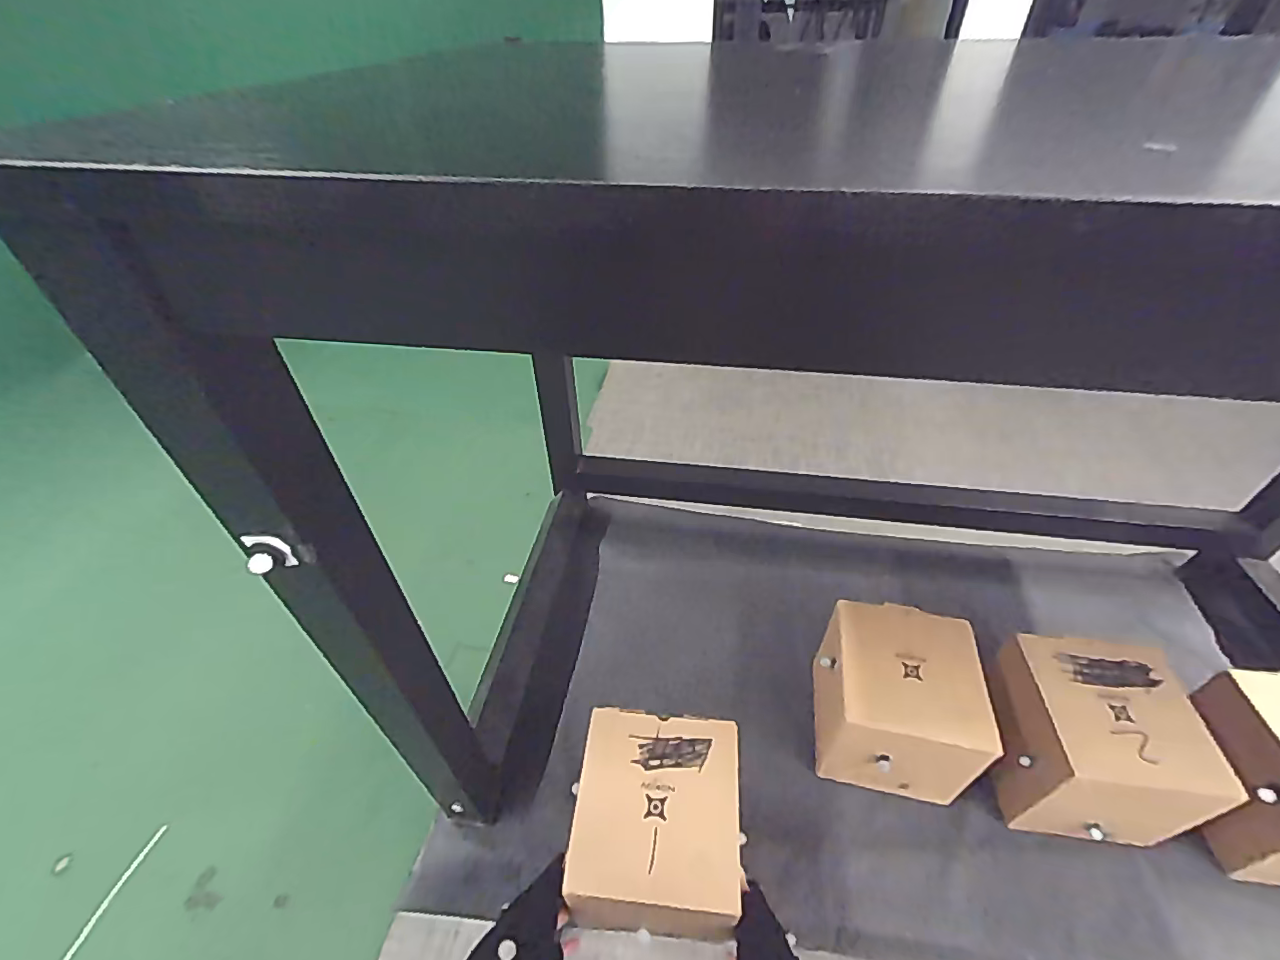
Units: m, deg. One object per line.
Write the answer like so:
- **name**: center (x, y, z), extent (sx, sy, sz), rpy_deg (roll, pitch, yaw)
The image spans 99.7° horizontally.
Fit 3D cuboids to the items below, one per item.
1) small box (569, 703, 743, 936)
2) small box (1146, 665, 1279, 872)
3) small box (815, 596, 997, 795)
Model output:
- **small box**: center (0.023, 0.381, 0.610), extent (0.168, 0.176, 0.179), rpy_deg (4, 44, 5)
- **small box**: center (0.769, 0.345, 0.632), extent (0.168, 0.176, 0.179), rpy_deg (4, 42, 6)
- **small box**: center (0.332, 0.285, 0.715), extent (0.168, 0.176, 0.179), rpy_deg (8, 42, 10)
